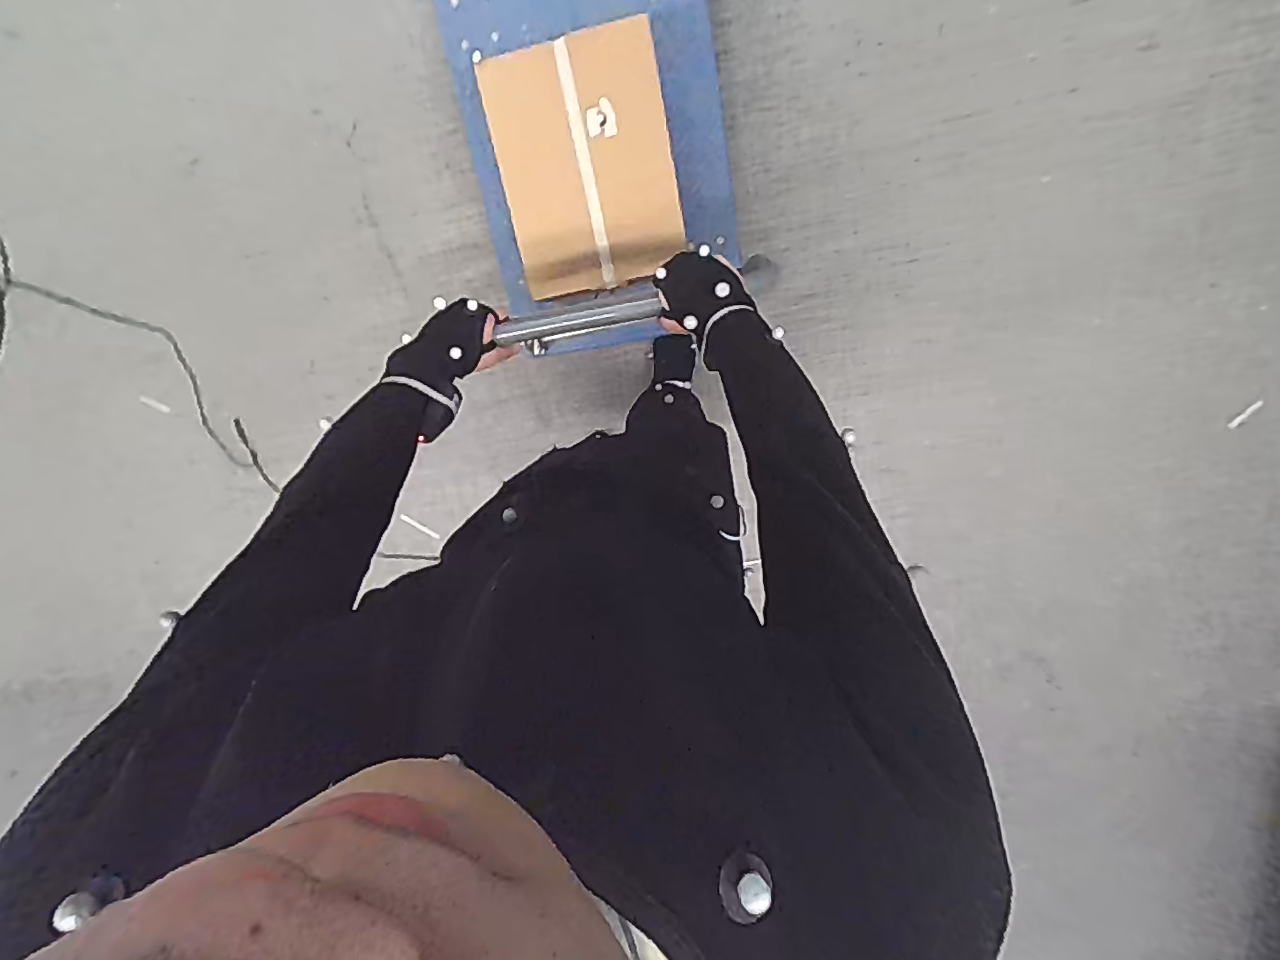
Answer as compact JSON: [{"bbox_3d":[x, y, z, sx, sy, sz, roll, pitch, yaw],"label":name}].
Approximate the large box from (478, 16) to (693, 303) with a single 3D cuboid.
[{"bbox_3d":[-0.080,-0.607,1.117,0.320,0.320,0.408,-10,106,7],"label":"large box"}]
